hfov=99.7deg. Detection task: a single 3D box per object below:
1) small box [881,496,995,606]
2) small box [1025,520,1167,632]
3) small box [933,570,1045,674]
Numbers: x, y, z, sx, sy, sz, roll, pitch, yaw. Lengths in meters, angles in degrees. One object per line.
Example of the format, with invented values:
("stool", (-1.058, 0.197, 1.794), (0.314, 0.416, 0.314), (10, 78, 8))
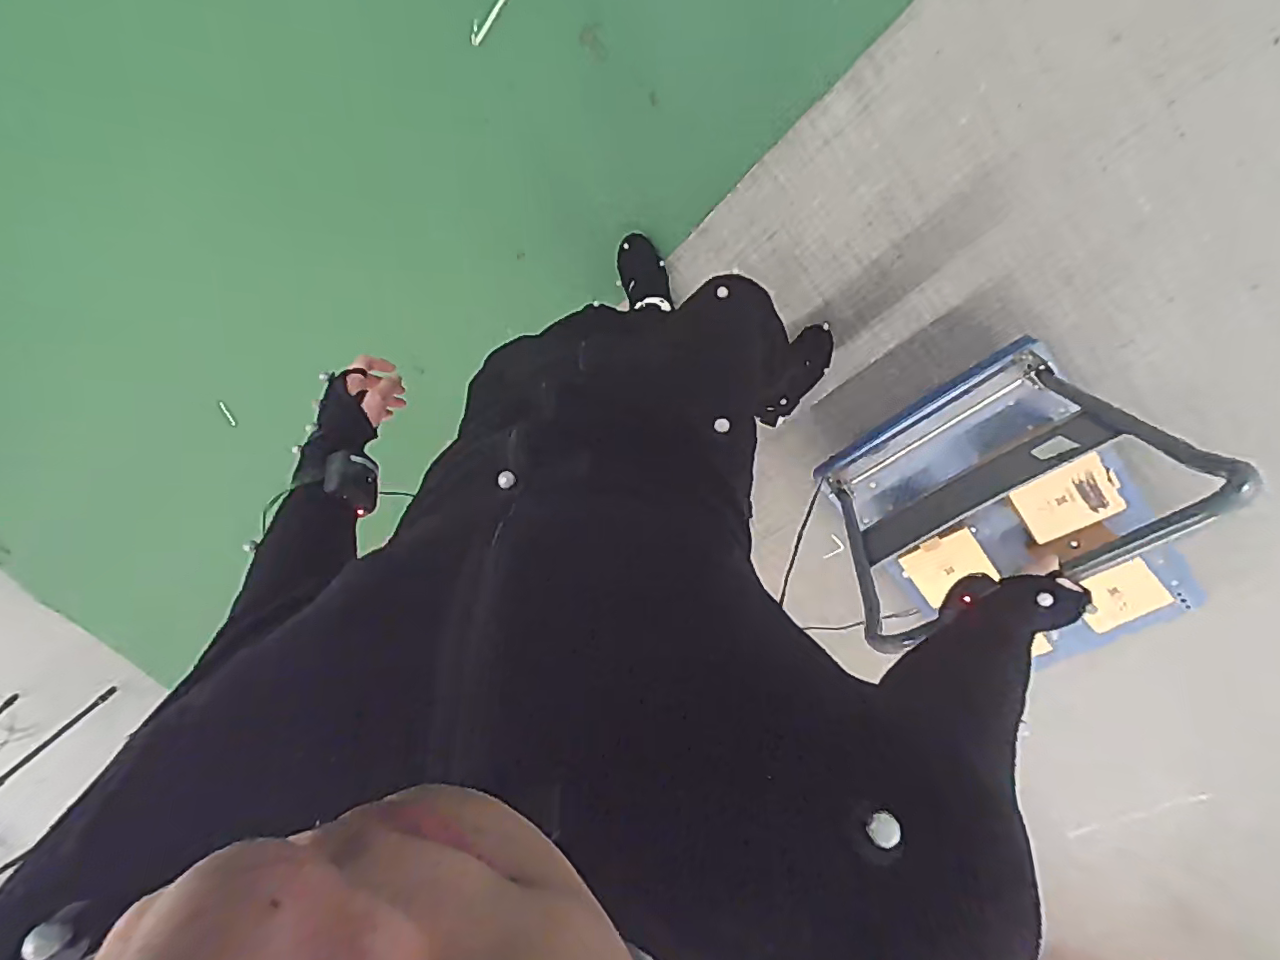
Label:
("small box", (0.728, 0.171, 1.336), (0.168, 0.176, 0.179), (-34, 105, 24))
("small box", (1.071, 0.217, 1.287), (0.179, 0.176, 0.168), (44, 117, -12))
("small box", (0.885, 0.355, 1.394), (0.168, 0.176, 0.179), (-38, 103, 24))
